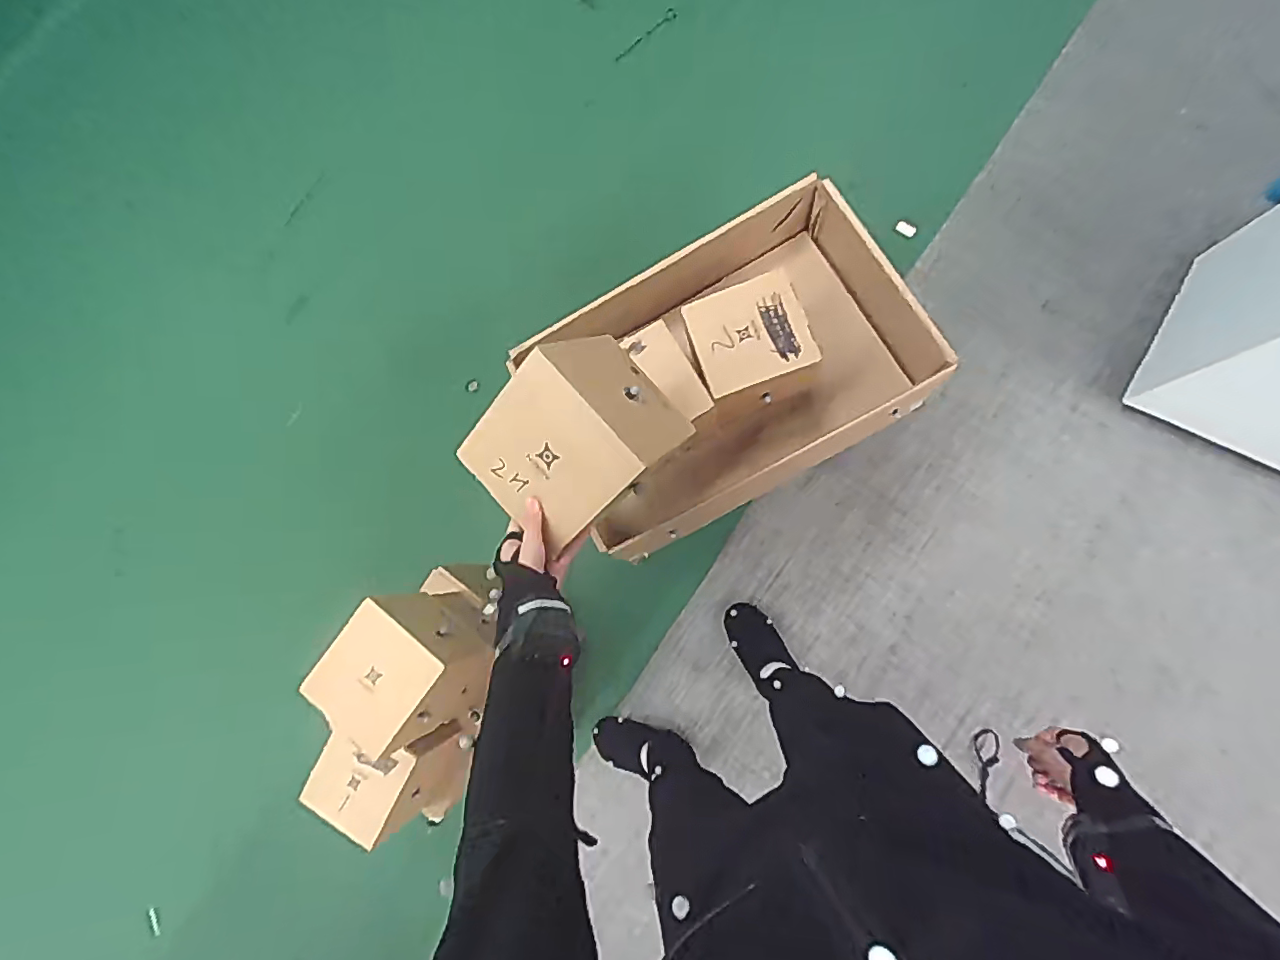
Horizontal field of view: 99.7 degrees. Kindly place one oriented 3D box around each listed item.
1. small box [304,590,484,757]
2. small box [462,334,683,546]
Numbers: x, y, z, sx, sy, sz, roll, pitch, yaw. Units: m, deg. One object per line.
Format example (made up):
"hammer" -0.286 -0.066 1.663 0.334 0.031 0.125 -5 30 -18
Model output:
"small box" -0.379 0.295 0.873 0.168 0.176 0.179 36 90 11
"small box" -0.068 -0.058 0.649 0.168 0.176 0.179 49 119 3
